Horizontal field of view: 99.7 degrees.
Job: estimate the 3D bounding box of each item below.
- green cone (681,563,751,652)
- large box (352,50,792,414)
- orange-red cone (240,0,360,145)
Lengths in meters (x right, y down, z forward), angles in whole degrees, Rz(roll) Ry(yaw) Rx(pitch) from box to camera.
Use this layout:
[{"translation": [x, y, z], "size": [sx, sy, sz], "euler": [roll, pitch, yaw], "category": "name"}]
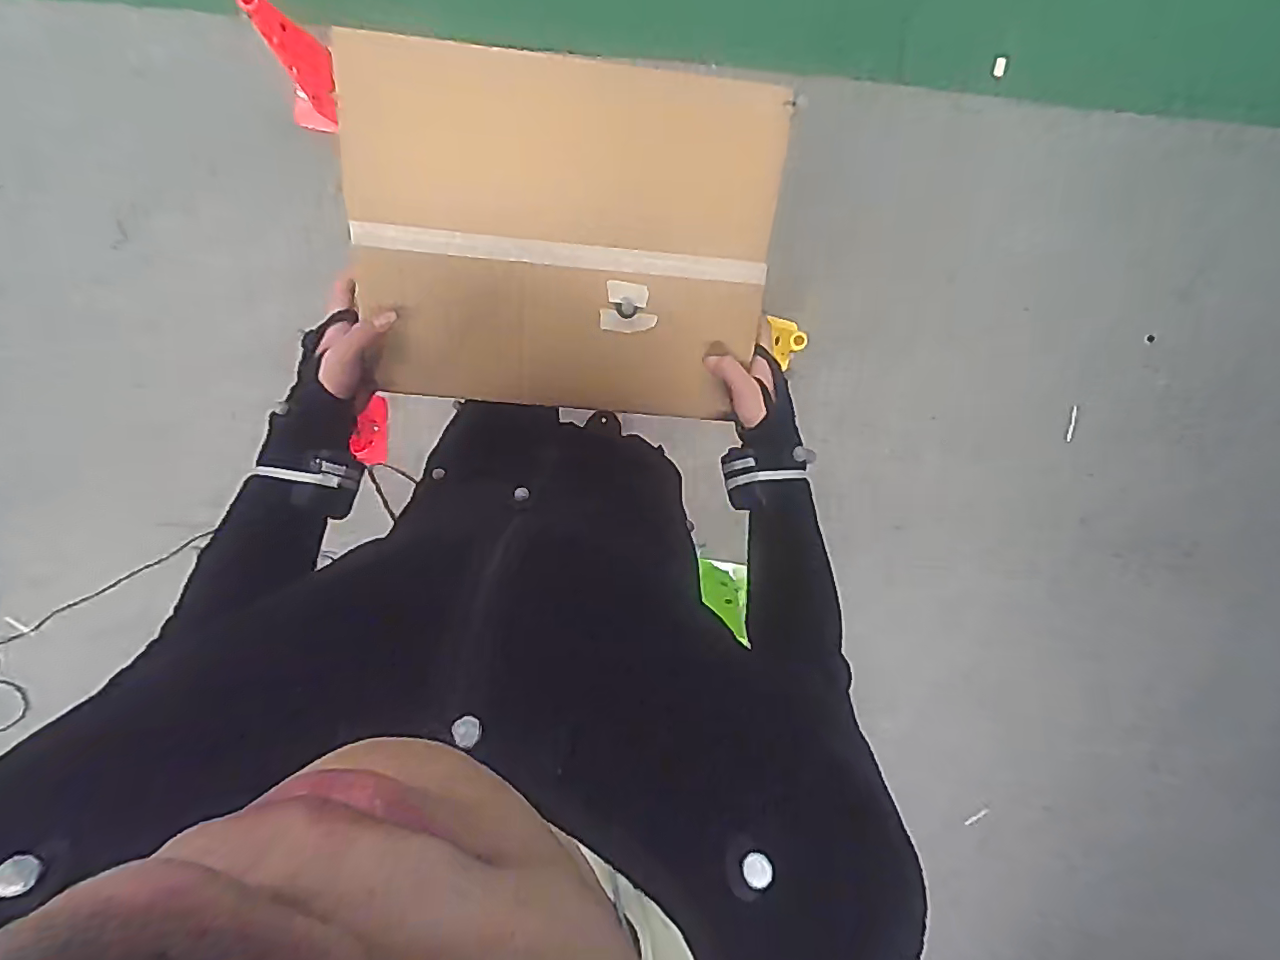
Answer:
[{"translation": [0.251, 0.394, 1.541], "size": [0.200, 0.368, 0.202], "euler": [9, 99, -5], "category": "green cone"}, {"translation": [-0.075, -0.281, 0.679], "size": [0.408, 0.320, 0.320], "euler": [3, 113, -5], "category": "large box"}, {"translation": [-0.773, -0.956, 1.227], "size": [0.199, 0.360, 0.198], "euler": [11, 99, -4], "category": "orange-red cone"}]
